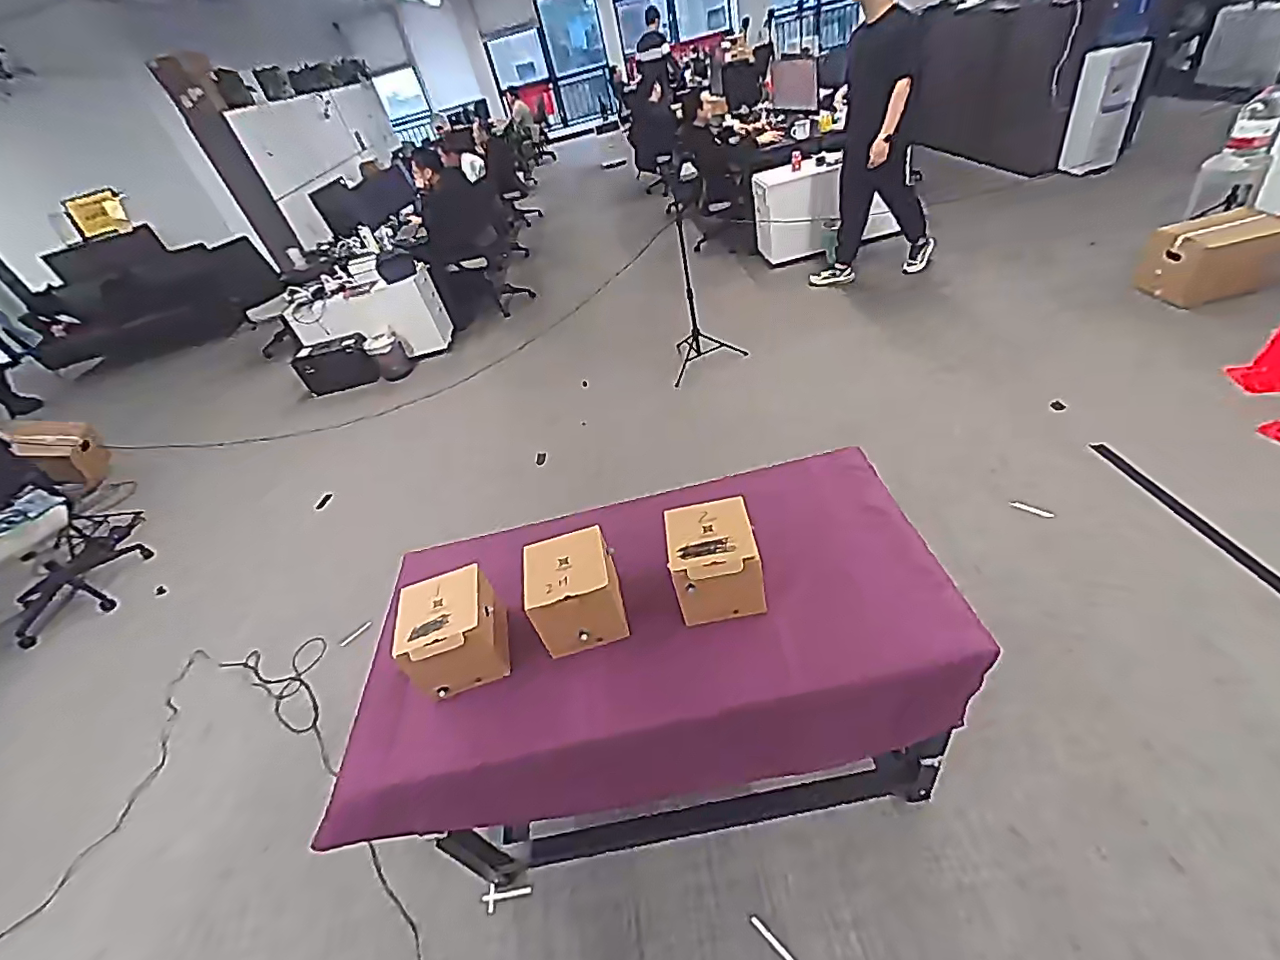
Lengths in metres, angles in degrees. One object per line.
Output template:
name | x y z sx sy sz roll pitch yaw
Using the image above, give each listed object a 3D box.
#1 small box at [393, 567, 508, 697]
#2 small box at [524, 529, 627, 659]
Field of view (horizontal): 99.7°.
small box | -0.377 0.316 1.106 0.168 0.176 0.179 -19 38 -4
small box | -0.134 0.235 1.118 0.168 0.176 0.179 -17 39 0
